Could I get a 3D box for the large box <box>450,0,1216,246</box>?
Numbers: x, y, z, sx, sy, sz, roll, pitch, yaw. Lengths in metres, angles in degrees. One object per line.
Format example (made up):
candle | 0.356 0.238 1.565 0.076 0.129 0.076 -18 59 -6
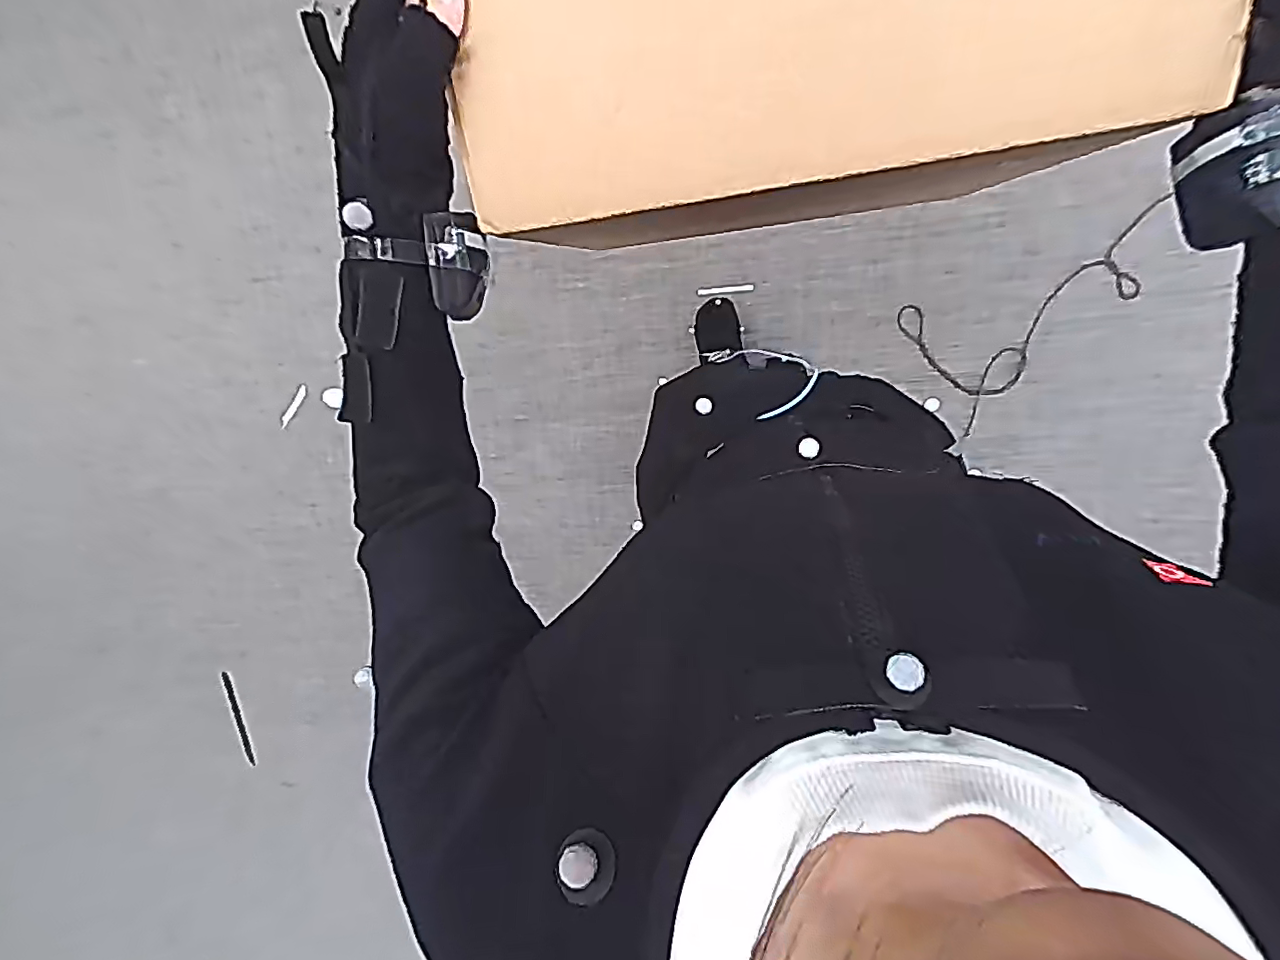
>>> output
large box | 0.097 -0.380 0.407 0.408 0.320 0.320 -5 111 10
